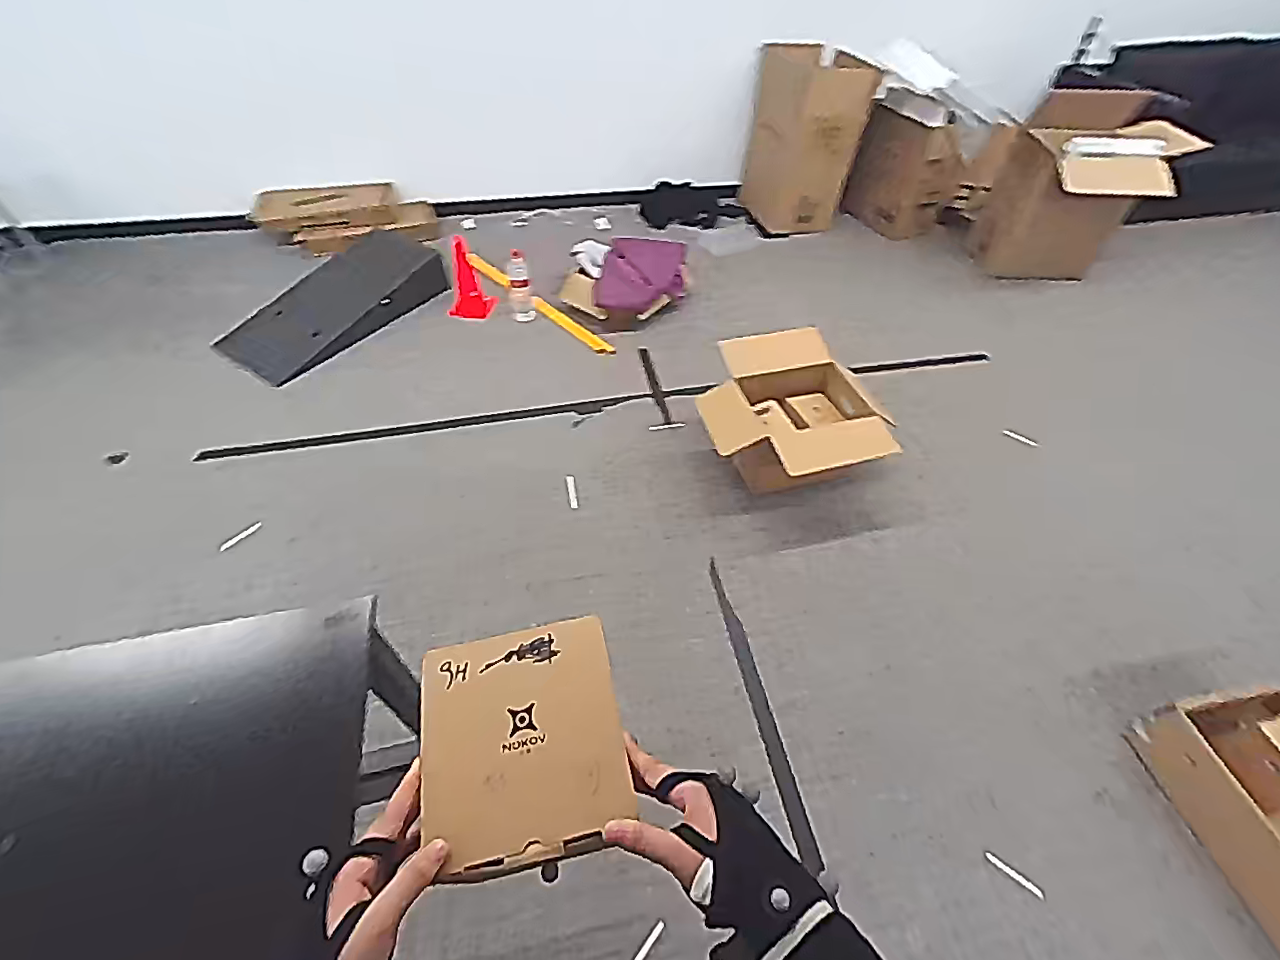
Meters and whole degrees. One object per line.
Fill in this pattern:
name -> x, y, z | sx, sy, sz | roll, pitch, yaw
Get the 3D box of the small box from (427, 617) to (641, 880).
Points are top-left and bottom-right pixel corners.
small box -> -0.093, 0.257, 0.517 | 0.168, 0.176, 0.179 | -10, 54, -7

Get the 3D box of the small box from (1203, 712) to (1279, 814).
small box -> 1.528, 0.665, 1.282 | 0.168, 0.176, 0.179 | -9, 51, -7
